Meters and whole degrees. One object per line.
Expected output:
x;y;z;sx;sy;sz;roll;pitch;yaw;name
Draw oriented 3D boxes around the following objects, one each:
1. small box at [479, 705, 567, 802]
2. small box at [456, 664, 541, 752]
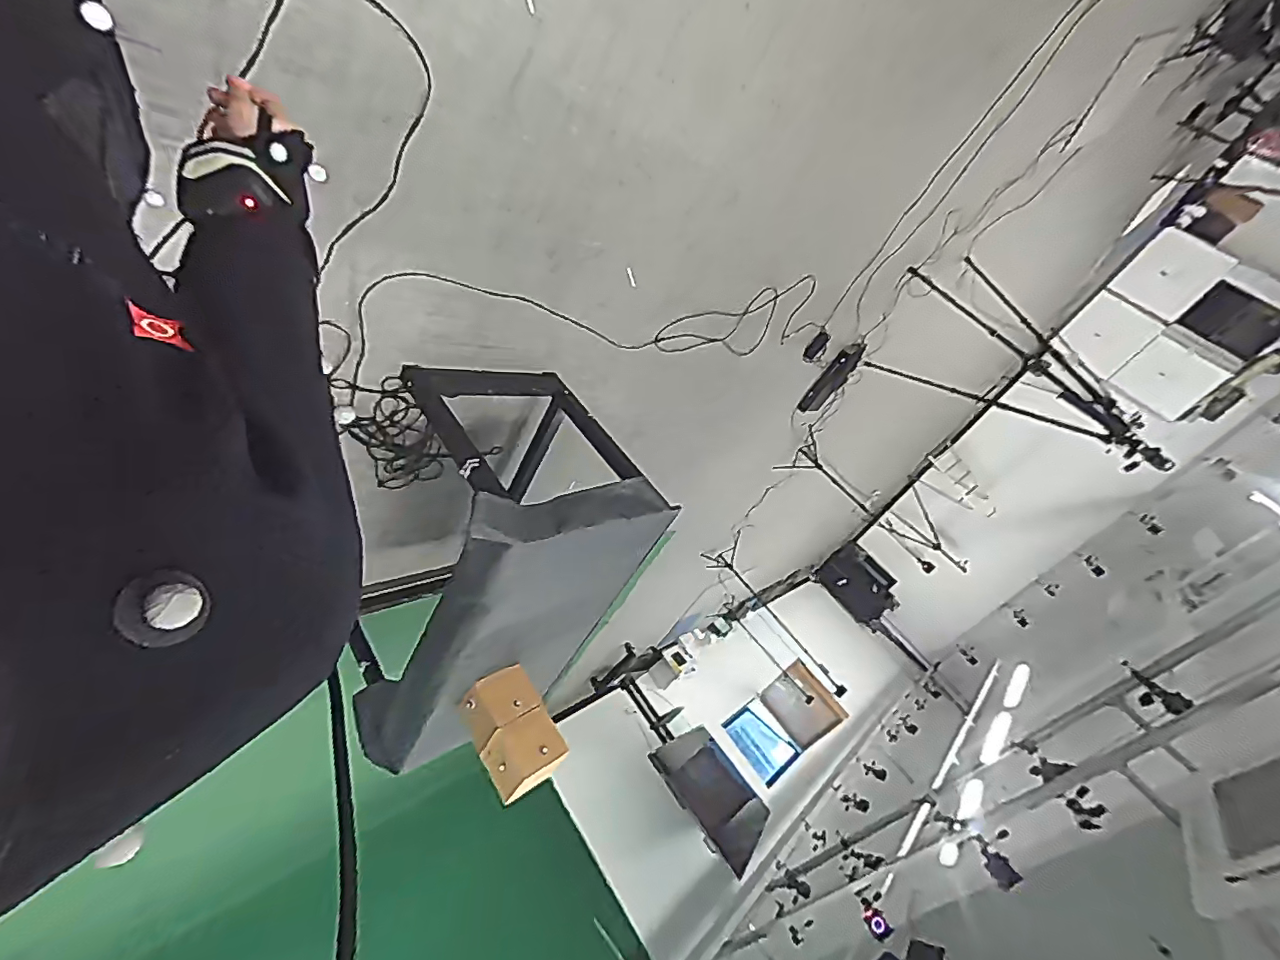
-0.361;0.826;1.647;0.179;0.176;0.168;-10;140;-49;small box
-0.454;0.718;1.725;0.179;0.176;0.168;-7;138;-49;small box
